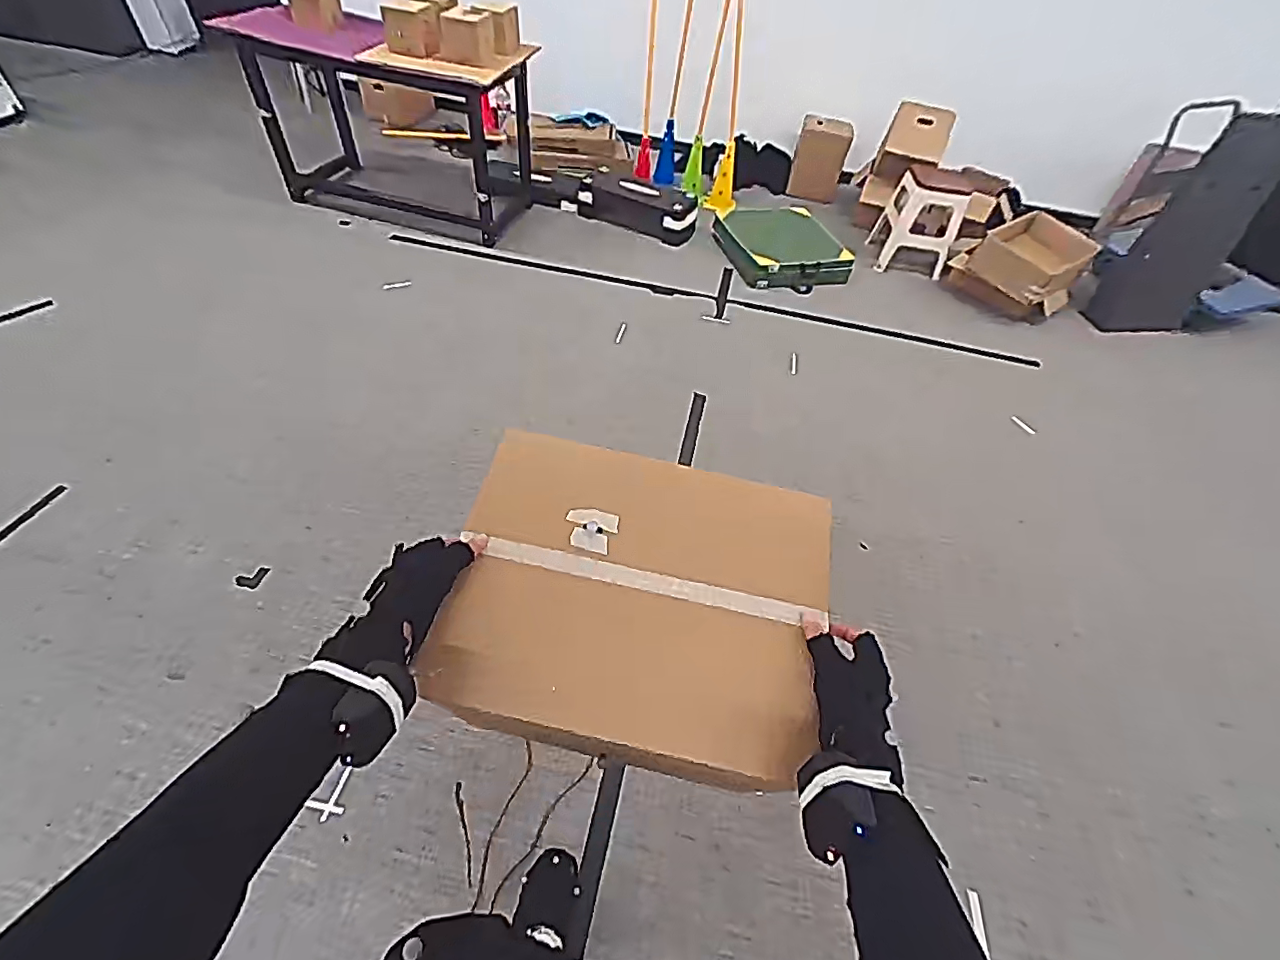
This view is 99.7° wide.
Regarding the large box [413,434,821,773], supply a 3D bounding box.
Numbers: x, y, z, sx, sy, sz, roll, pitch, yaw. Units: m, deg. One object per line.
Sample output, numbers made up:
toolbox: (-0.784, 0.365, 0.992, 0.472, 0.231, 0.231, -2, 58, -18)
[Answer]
large box: (-0.009, 0.182, 0.723, 0.408, 0.320, 0.320, 12, 59, 3)
